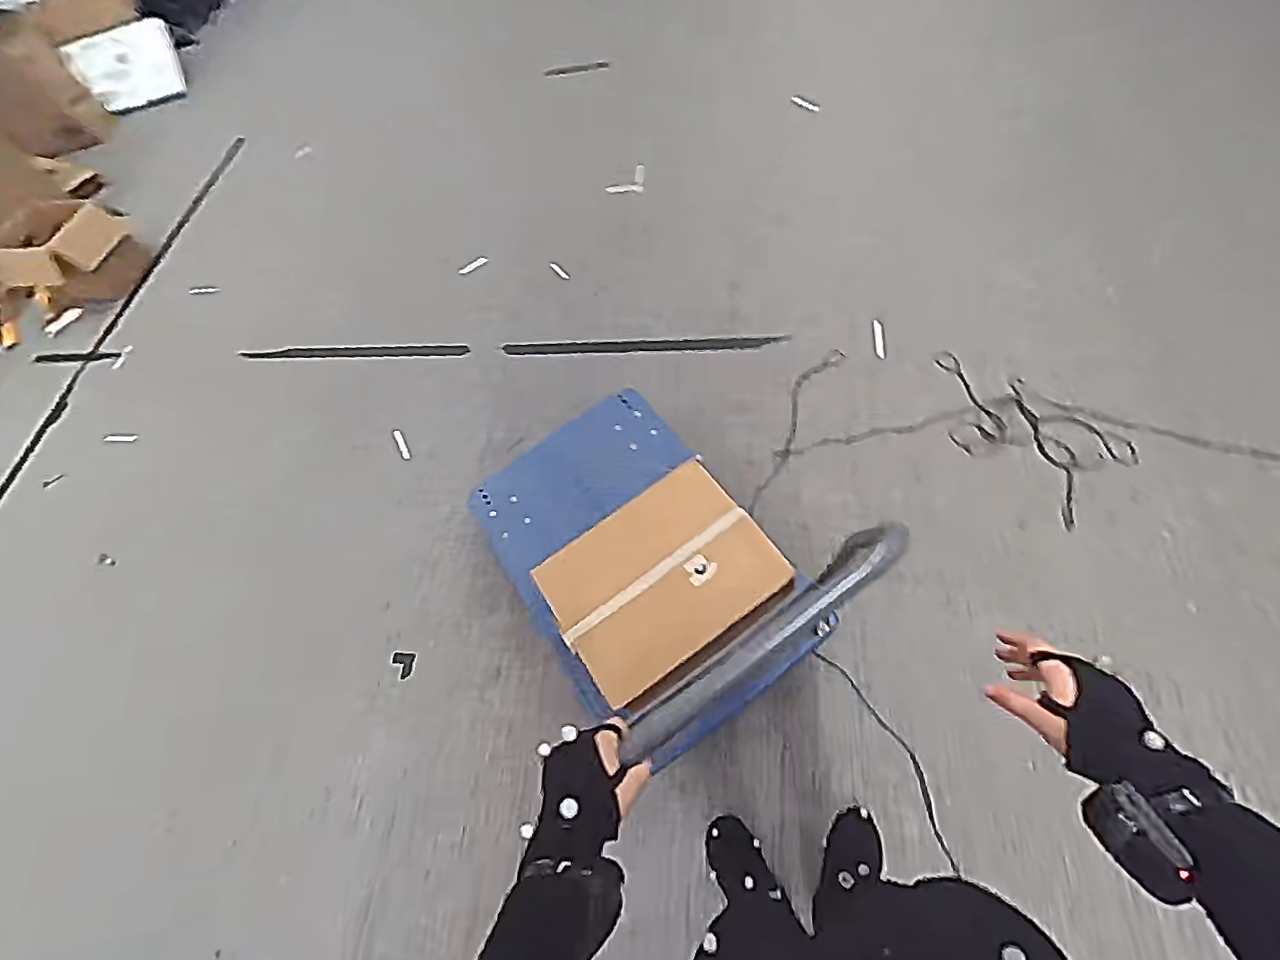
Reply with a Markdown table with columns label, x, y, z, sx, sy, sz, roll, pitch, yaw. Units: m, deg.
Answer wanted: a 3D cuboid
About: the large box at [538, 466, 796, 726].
| label | x | y | z | sx | sy | sz | roll | pitch | yaw |
| --- | --- | --- | --- | --- | --- | --- | --- | --- | --- |
| large box | 0.065 | 0.255 | 1.144 | 0.408 | 0.320 | 0.320 | -34 | 63 | -8 |
